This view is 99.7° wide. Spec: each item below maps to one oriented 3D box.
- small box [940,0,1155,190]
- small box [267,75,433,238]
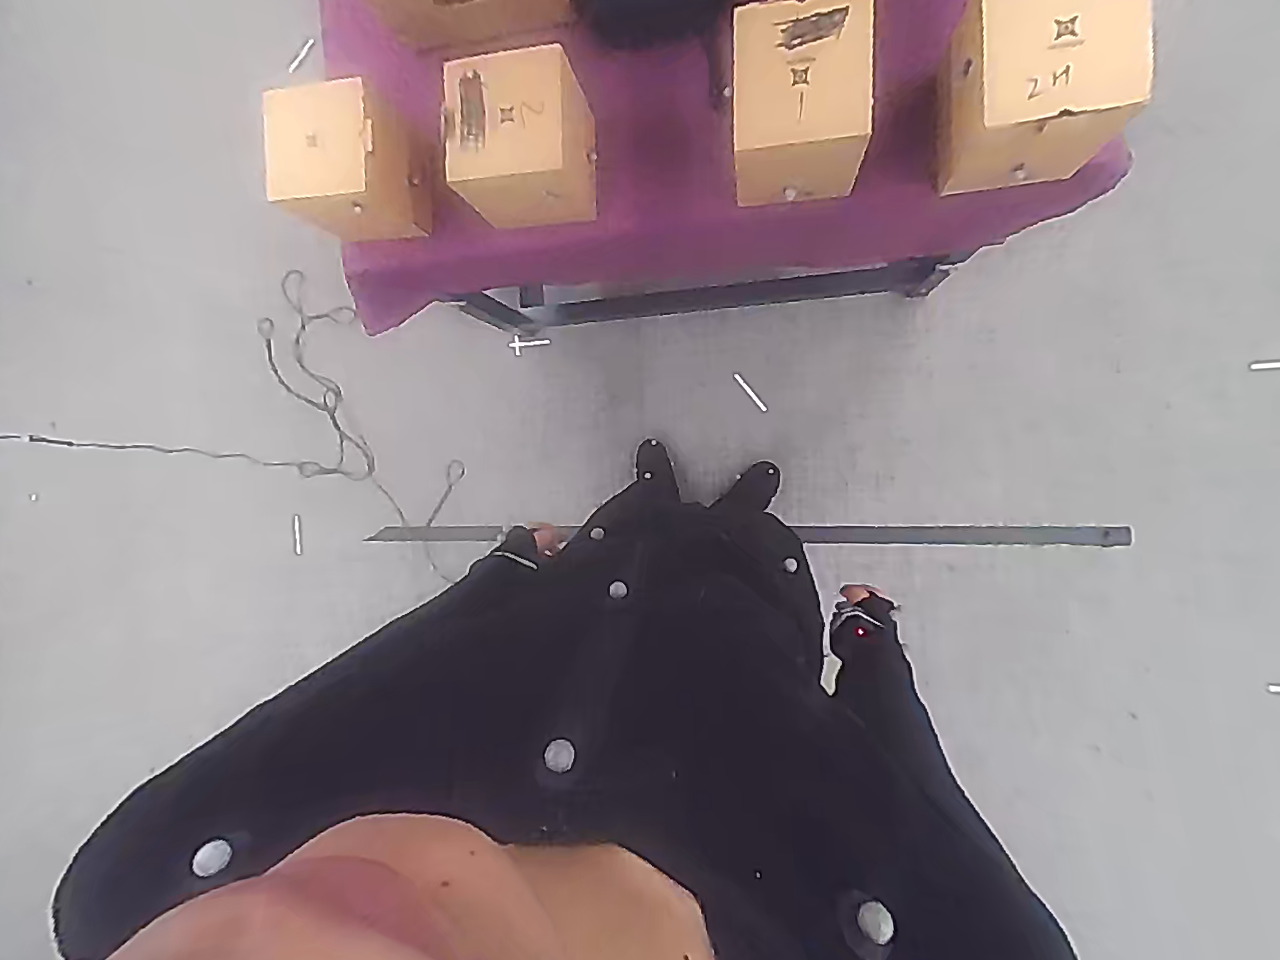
[{"bbox_3d":[0.487,-0.497,0.674,0.168,0.176,0.179,-1,93,14],"label":"small box"},{"bbox_3d":[-0.464,-0.511,0.881,0.179,0.176,0.168,1,93,11],"label":"small box"}]
